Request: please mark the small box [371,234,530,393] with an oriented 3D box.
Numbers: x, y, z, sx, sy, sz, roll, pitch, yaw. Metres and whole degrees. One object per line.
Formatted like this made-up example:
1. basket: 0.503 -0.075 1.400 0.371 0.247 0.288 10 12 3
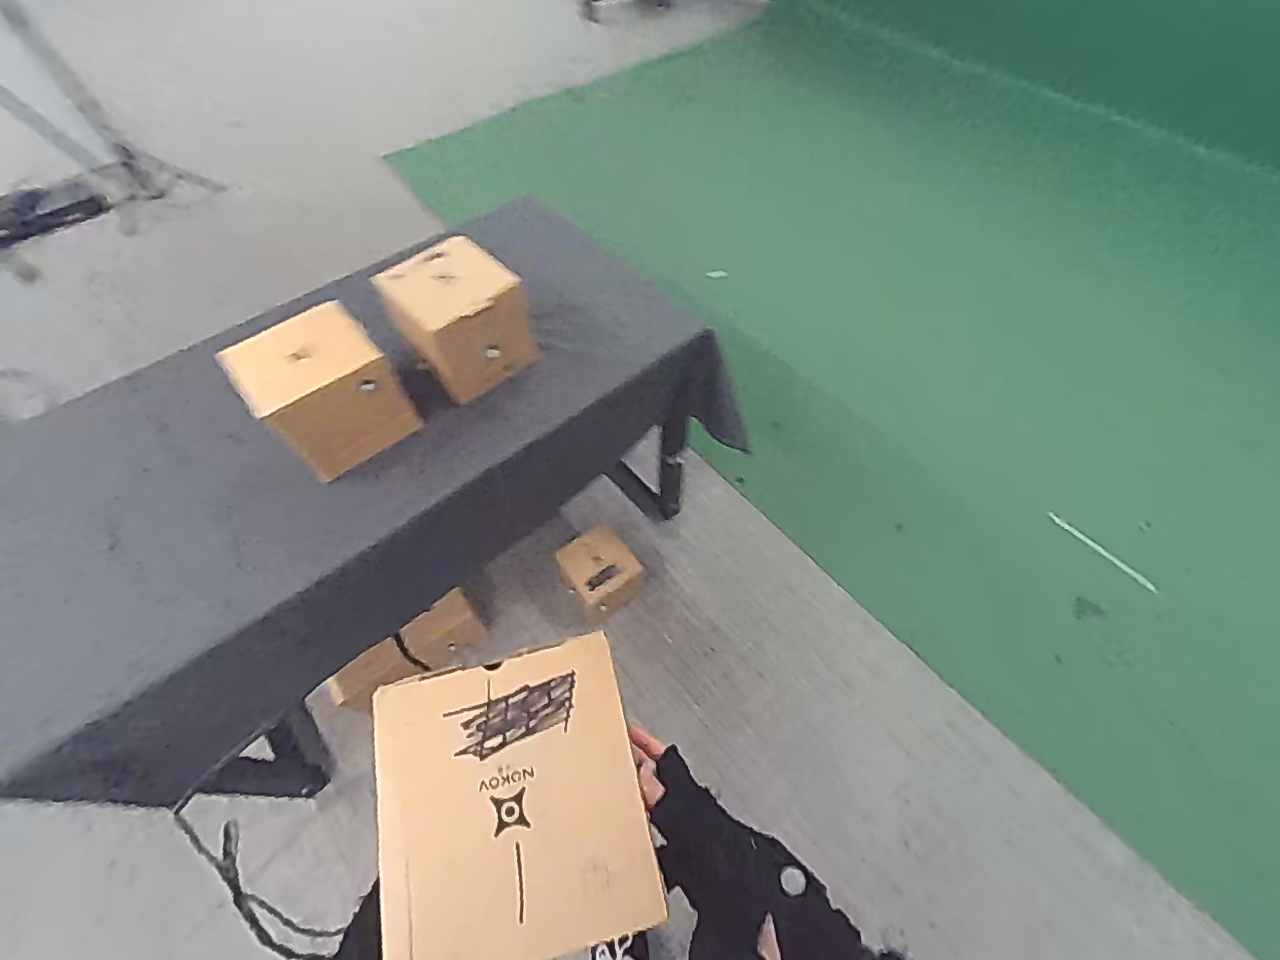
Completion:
1. small box: -0.308 -0.272 0.915 0.168 0.176 0.179 -38 66 -22
